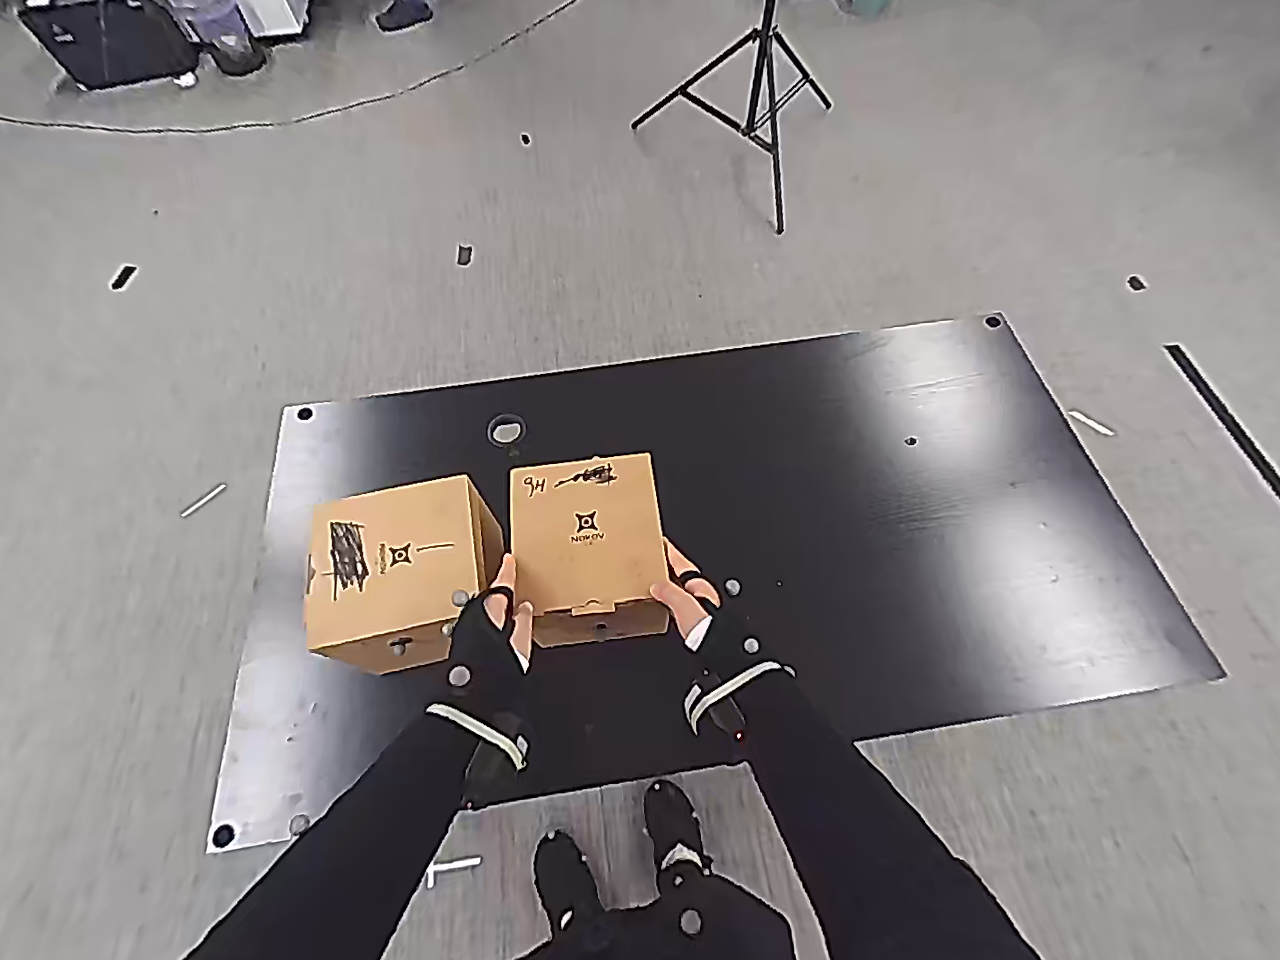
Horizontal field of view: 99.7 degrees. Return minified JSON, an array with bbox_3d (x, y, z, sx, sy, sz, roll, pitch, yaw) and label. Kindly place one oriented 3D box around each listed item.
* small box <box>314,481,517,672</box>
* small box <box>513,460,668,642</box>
[{"bbox_3d":[-0.262,0.125,0.660,0.179,0.176,0.168,-12,63,-6],"label":"small box"},{"bbox_3d":[-0.058,0.097,0.670,0.168,0.176,0.179,-6,63,-4],"label":"small box"}]
